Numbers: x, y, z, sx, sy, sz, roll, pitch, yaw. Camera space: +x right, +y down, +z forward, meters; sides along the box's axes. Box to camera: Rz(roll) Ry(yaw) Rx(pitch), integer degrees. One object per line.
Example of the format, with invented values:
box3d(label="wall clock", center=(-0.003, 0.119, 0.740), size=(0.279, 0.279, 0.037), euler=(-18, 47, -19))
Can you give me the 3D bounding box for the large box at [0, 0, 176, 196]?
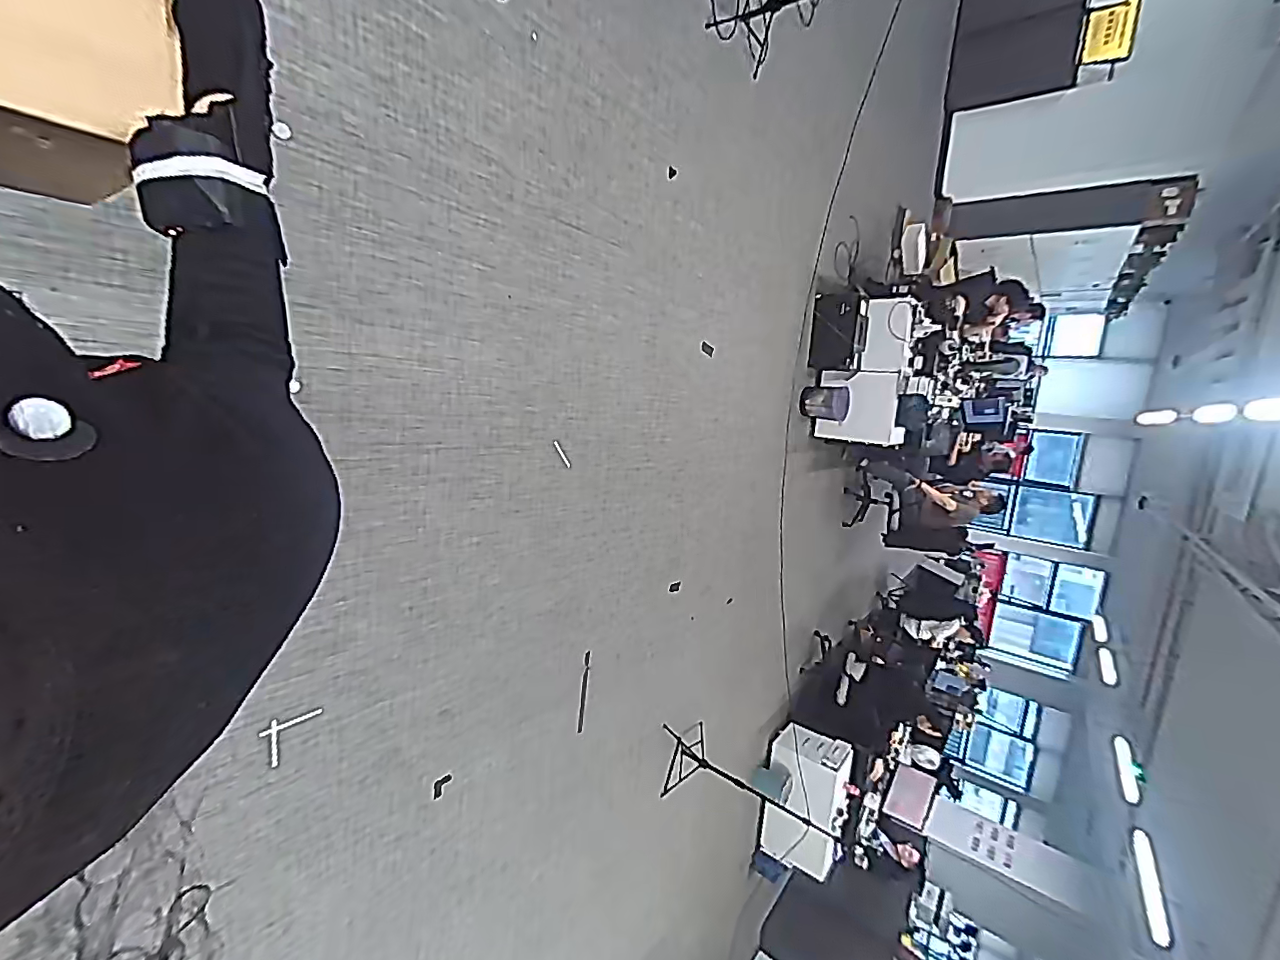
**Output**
box3d(label="large box", center=(-0.572, -0.399, 0.302), size=(0.408, 0.320, 0.320), euler=(-9, 109, -54))
